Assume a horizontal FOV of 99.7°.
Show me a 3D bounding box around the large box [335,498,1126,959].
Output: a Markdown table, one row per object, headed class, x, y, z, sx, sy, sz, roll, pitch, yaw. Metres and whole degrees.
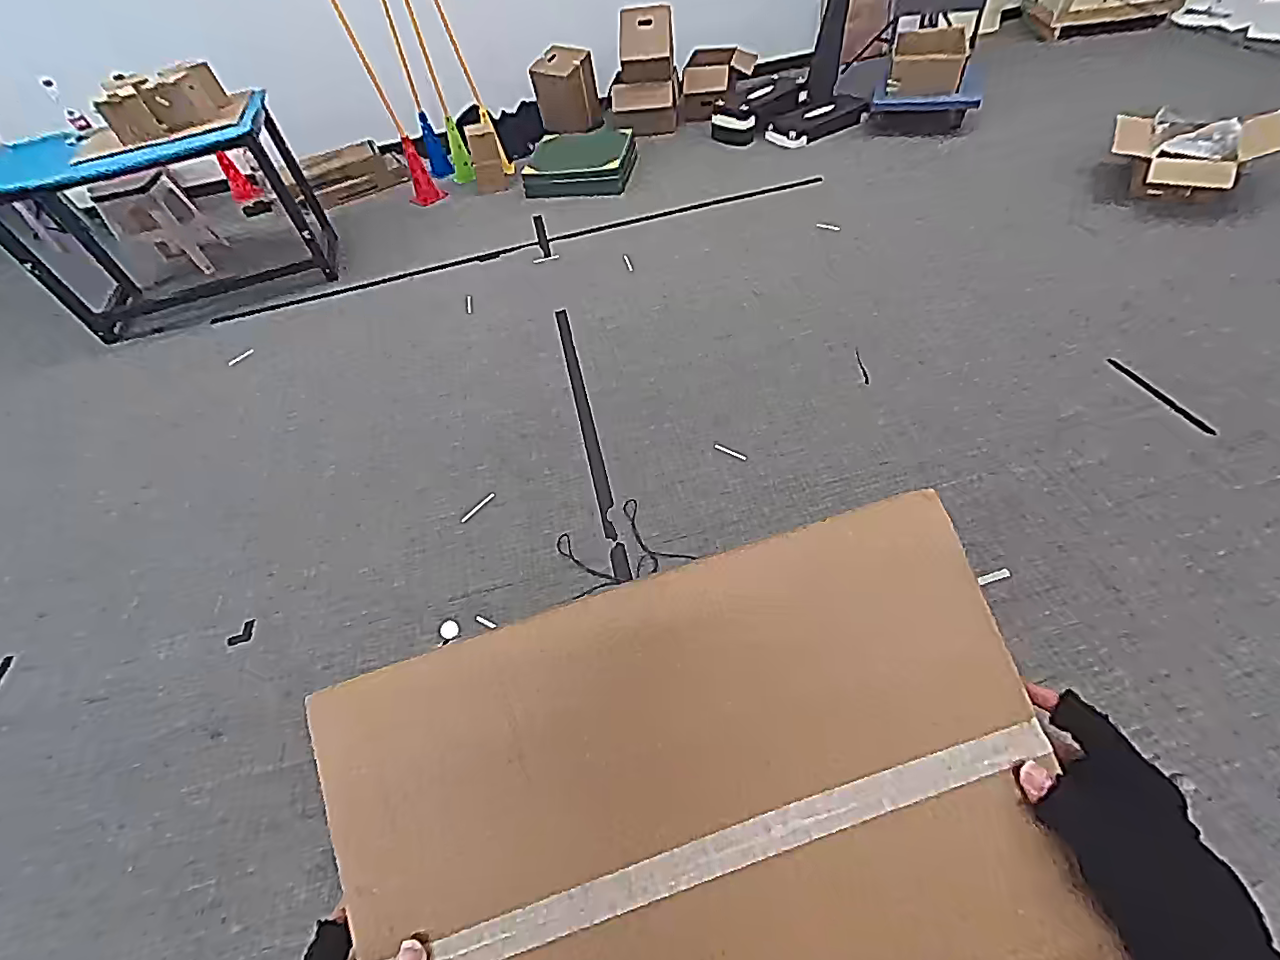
| class | x | y | z | sx | sy | sz | roll | pitch | yaw |
| --- | --- | --- | --- | --- | --- | --- | --- | --- | --- |
| large box | 0.045 | 0.244 | 0.462 | 0.408 | 0.320 | 0.320 | -18 | 81 | -3 |
